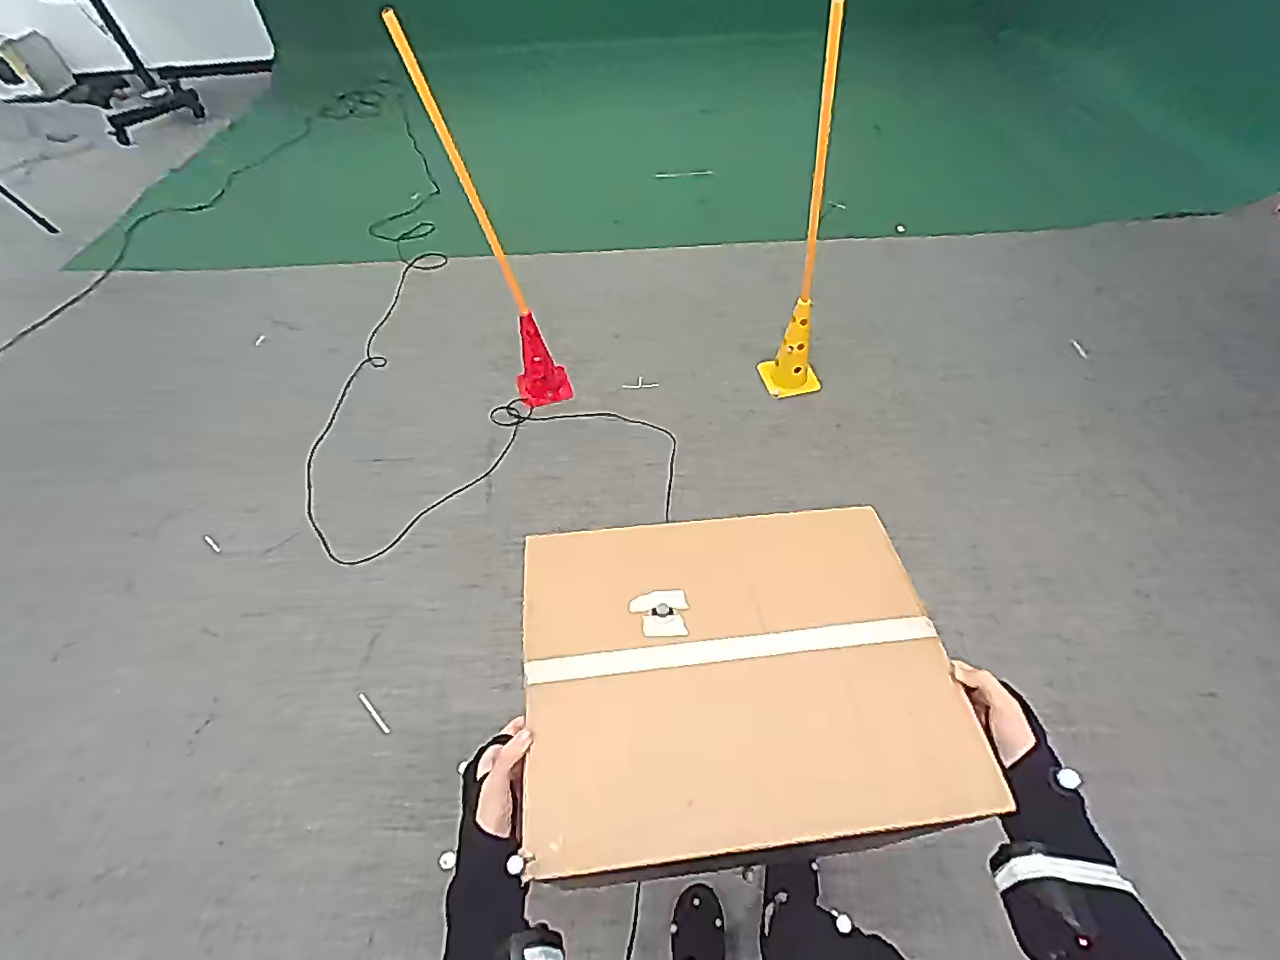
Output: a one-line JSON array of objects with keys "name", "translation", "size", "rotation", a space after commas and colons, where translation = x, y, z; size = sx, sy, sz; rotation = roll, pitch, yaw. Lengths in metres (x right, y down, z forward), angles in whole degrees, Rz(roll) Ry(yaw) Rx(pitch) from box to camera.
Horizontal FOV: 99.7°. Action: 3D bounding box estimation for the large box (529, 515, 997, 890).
[{"name": "large box", "translation": [0.093, 0.272, 0.649], "size": [0.408, 0.320, 0.320], "rotation": [-6, 51, -4]}]
